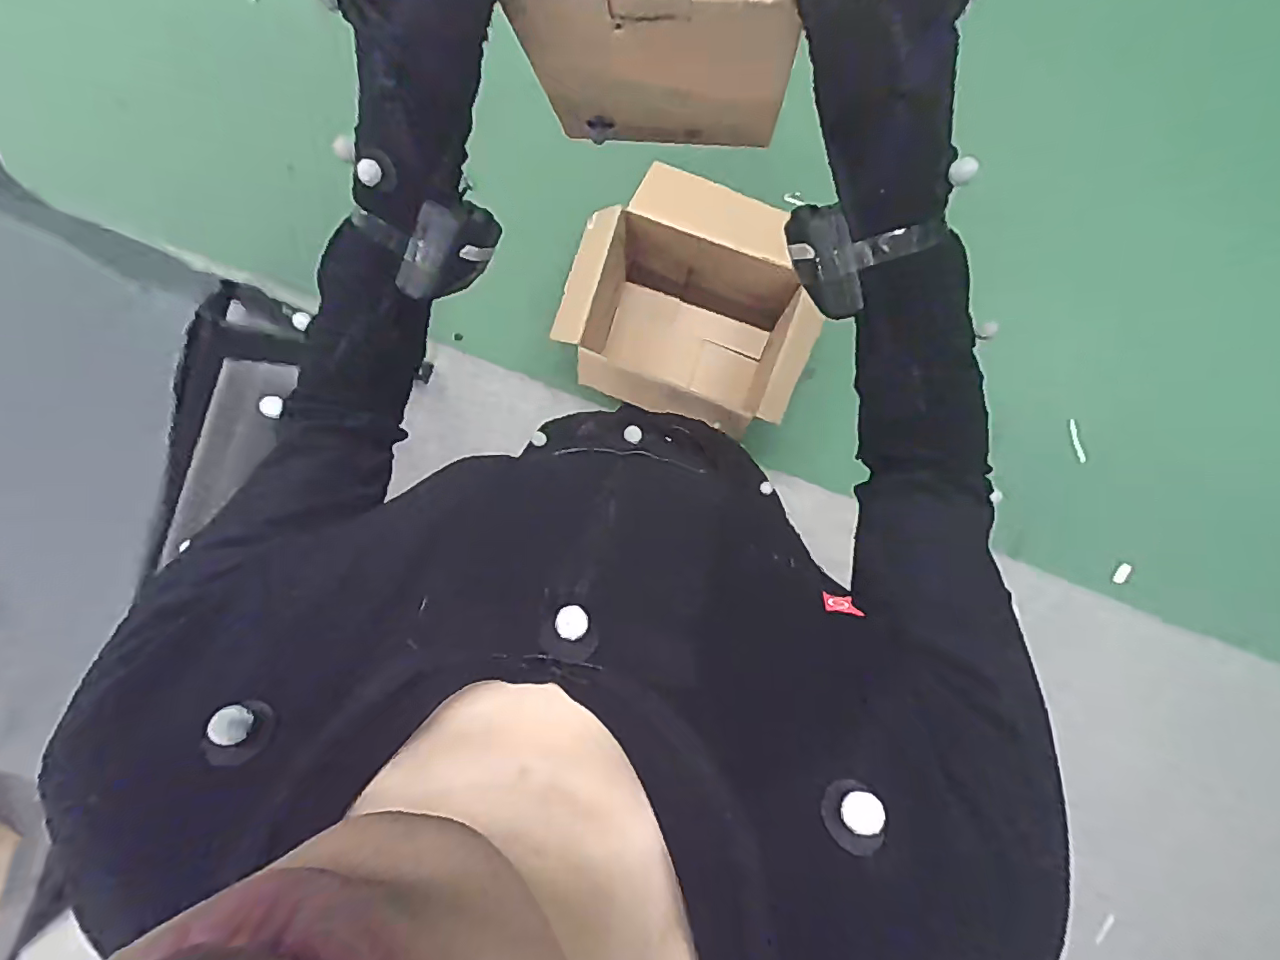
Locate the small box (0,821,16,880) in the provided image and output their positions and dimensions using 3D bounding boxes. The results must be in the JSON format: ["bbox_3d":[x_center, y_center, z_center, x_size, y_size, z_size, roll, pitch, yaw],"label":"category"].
[{"bbox_3d":[-1.131,0.612,0.813,0.179,0.176,0.168,25,98,0],"label":"small box"}]
